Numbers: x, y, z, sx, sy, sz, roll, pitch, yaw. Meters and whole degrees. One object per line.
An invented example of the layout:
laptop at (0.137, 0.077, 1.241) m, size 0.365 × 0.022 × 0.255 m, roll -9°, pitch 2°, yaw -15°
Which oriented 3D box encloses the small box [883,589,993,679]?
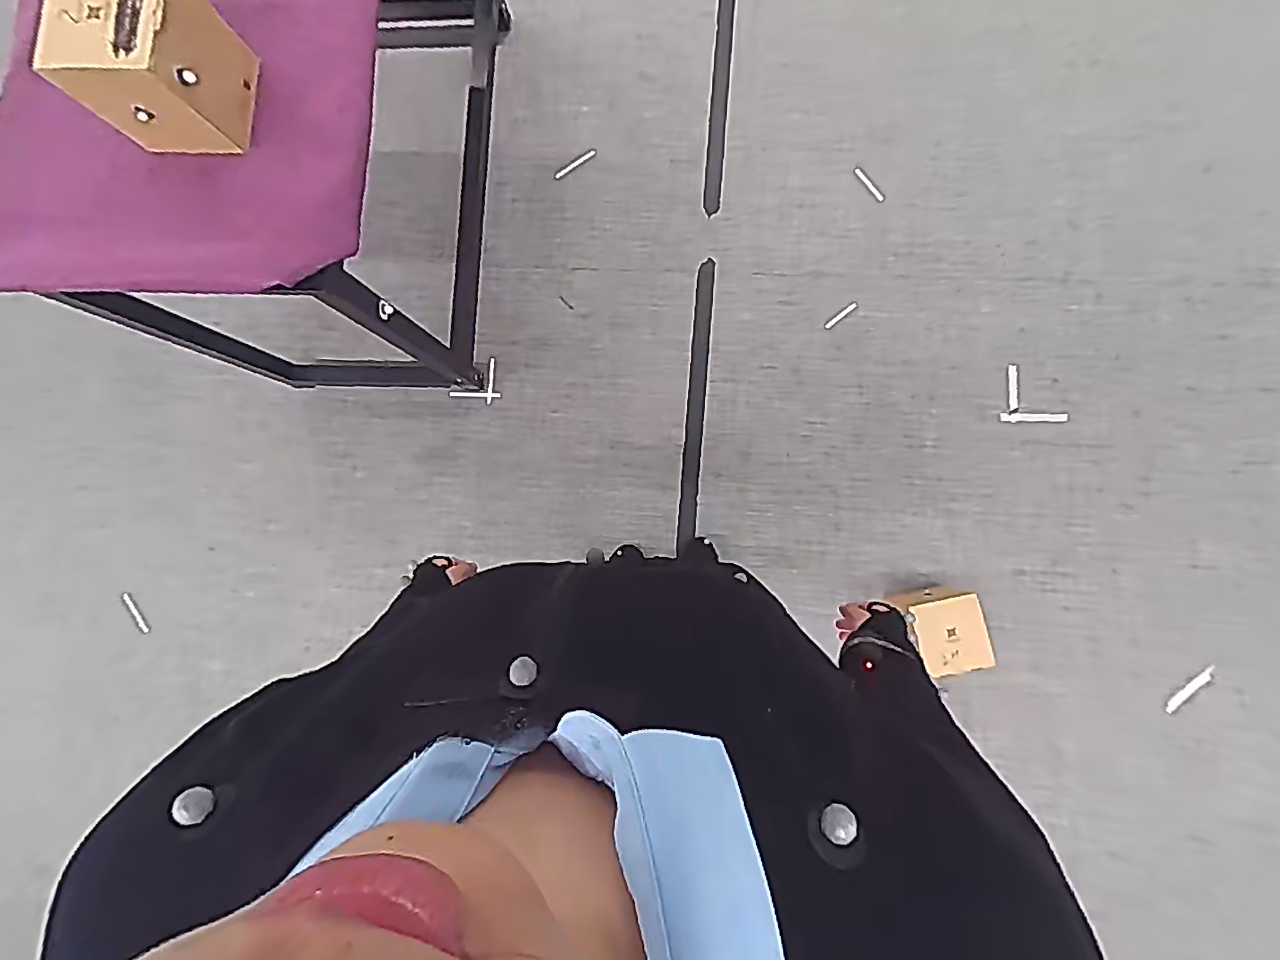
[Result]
small box at (0.738, 0.378, 1.362) m, size 0.168 × 0.176 × 0.179 m, roll -12°, pitch 85°, yaw 2°
